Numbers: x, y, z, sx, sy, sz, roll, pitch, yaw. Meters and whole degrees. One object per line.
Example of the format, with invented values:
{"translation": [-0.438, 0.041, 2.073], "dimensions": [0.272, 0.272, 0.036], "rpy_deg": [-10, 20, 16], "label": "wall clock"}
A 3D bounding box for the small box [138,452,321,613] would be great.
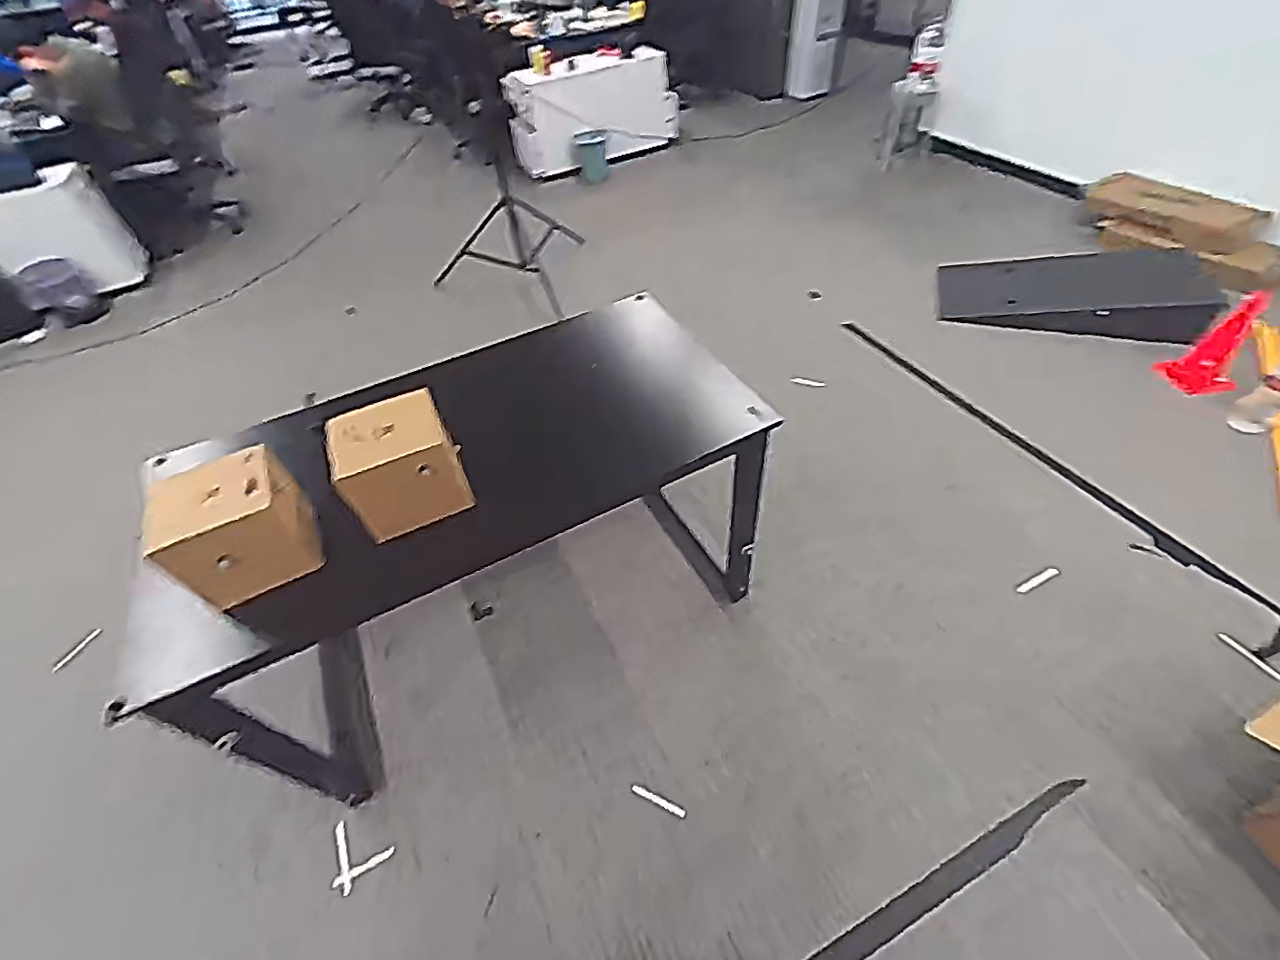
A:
{"translation": [-0.673, 0.091, 0.902], "dimensions": [0.179, 0.176, 0.168], "rpy_deg": [-26, 51, -16], "label": "small box"}

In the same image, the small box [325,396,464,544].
{"translation": [-0.432, -0.017, 0.973], "dimensions": [0.179, 0.176, 0.168], "rpy_deg": [-23, 50, -14], "label": "small box"}
